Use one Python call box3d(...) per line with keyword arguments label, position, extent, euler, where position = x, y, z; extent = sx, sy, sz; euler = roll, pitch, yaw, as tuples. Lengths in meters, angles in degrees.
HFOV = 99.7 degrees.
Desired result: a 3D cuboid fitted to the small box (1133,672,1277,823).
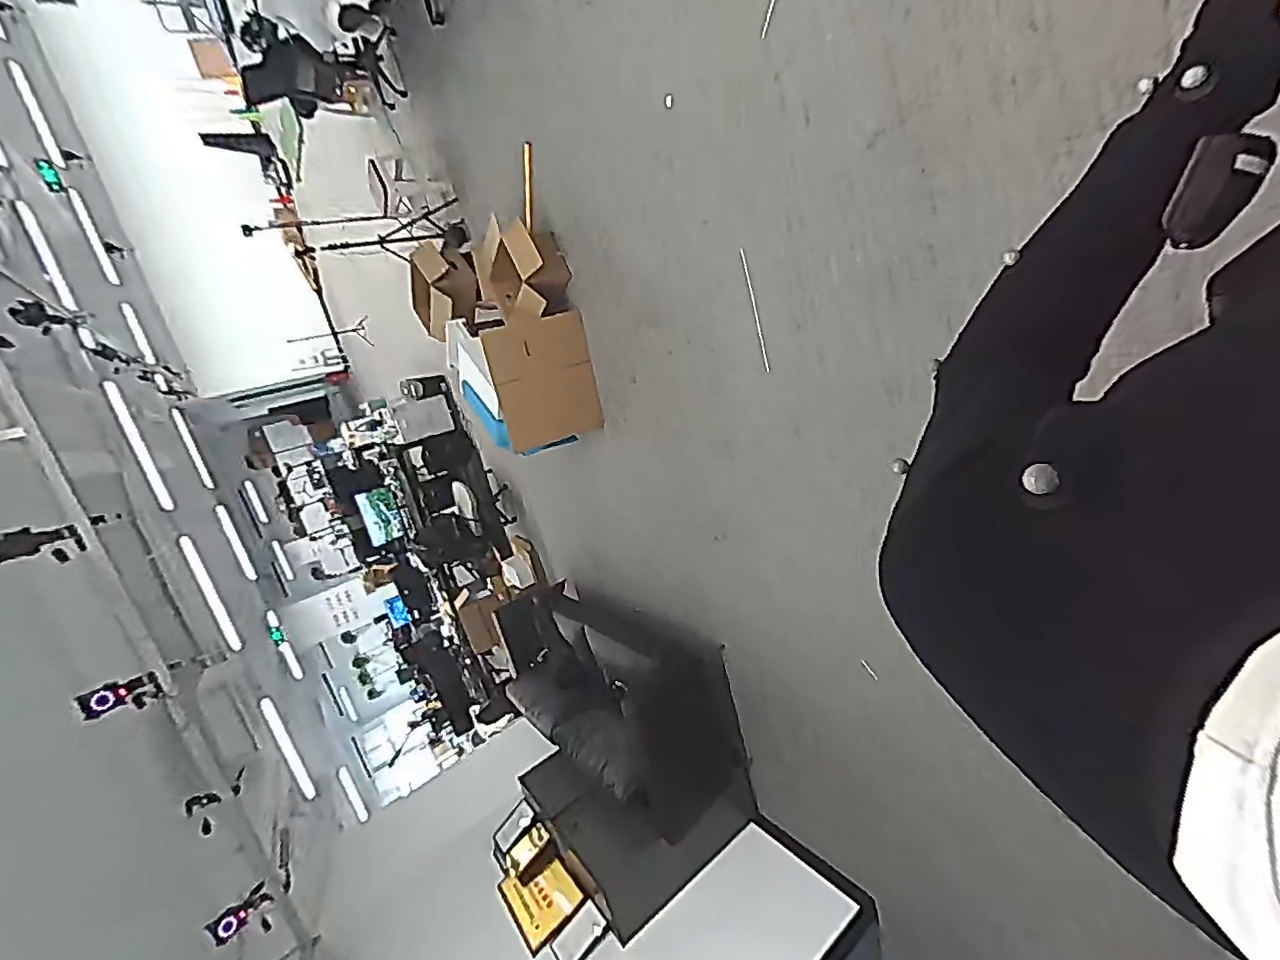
box3d(label="small box", position=(1.127, 0.519, 1.081), extent=(0.168, 0.176, 0.179), euler=(14, 120, 53))
